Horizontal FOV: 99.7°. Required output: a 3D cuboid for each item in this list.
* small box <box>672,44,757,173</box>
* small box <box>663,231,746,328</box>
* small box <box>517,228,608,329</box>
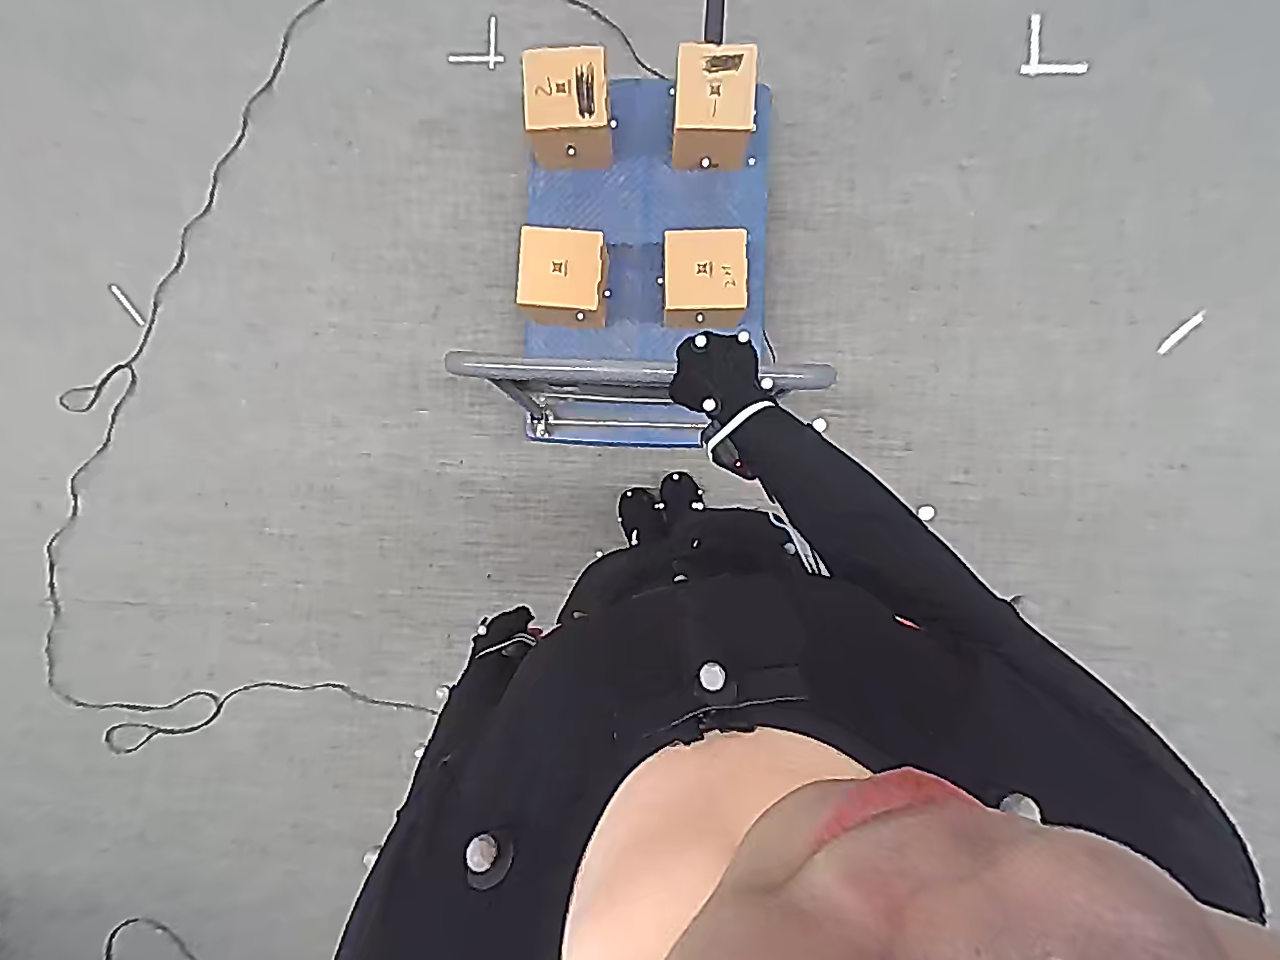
[{"bbox_3d":[0.159,-0.820,1.206,0.168,0.176,0.179,2,93,1],"label":"small box"},{"bbox_3d":[0.140,-0.445,1.220,0.179,0.176,0.168,0,92,1],"label":"small box"},{"bbox_3d":[-0.170,-0.450,1.227,0.179,0.176,0.168,4,91,-1],"label":"small box"}]
